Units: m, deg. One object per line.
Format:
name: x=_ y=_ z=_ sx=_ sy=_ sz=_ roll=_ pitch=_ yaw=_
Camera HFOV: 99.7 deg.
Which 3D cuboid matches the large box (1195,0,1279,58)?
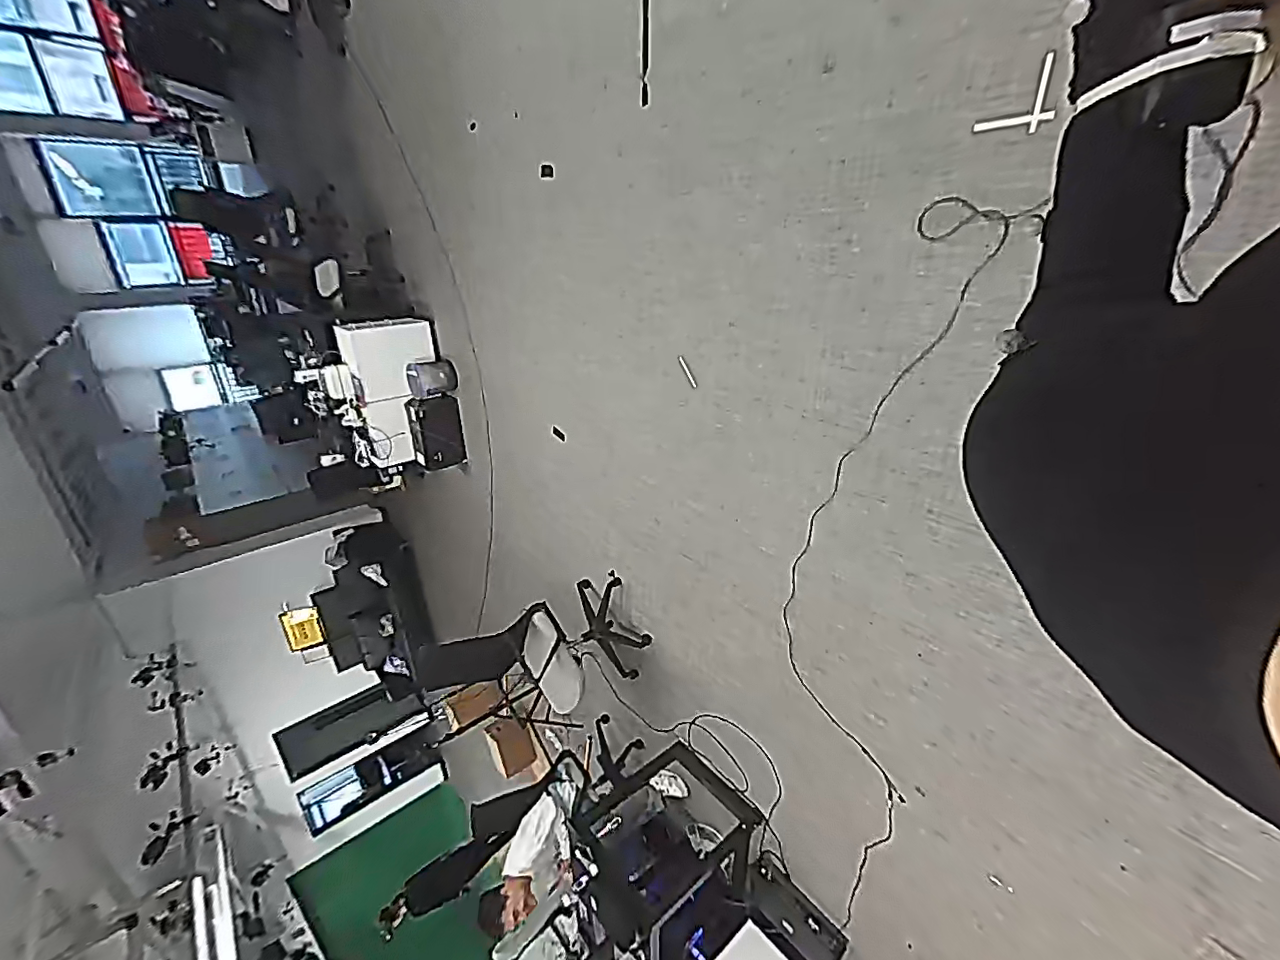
large box: x=0.570 y=-0.472 z=0.244 sx=0.408 sy=0.320 sz=0.320 roll=13 pitch=120 yaw=49
